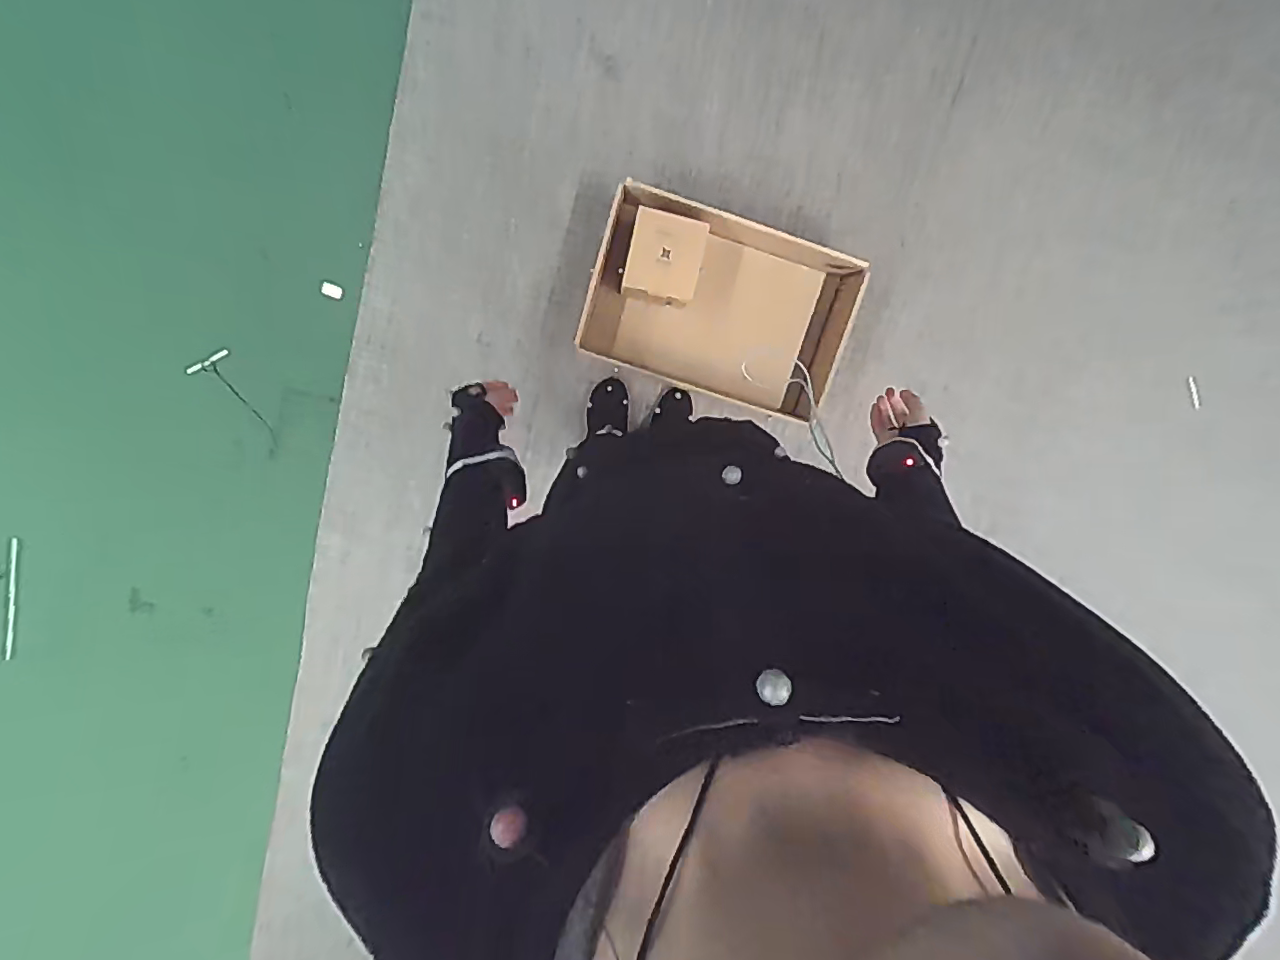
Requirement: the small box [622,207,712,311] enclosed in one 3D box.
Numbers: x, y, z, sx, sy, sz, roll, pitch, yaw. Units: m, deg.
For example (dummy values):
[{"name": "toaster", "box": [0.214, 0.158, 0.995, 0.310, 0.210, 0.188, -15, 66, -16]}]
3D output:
[{"name": "small box", "box": [0.057, -0.510, 1.276, 0.168, 0.176, 0.179, 13, 101, -5]}]
